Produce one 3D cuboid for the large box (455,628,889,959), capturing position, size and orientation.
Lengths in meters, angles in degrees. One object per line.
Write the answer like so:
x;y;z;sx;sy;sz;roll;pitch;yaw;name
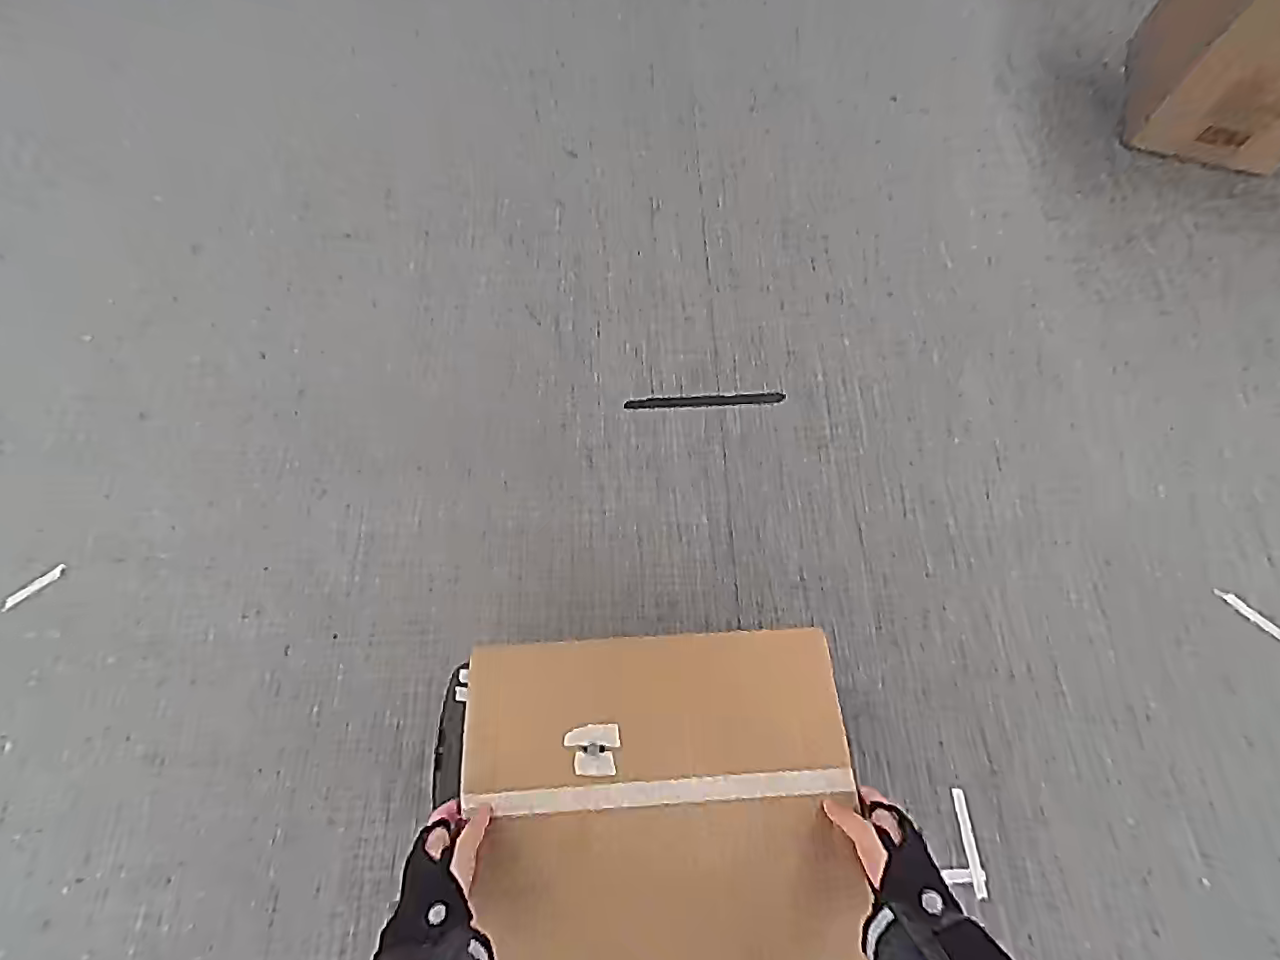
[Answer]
0.024;0.379;0.681;0.408;0.320;0.320;-3;65;-1;large box
